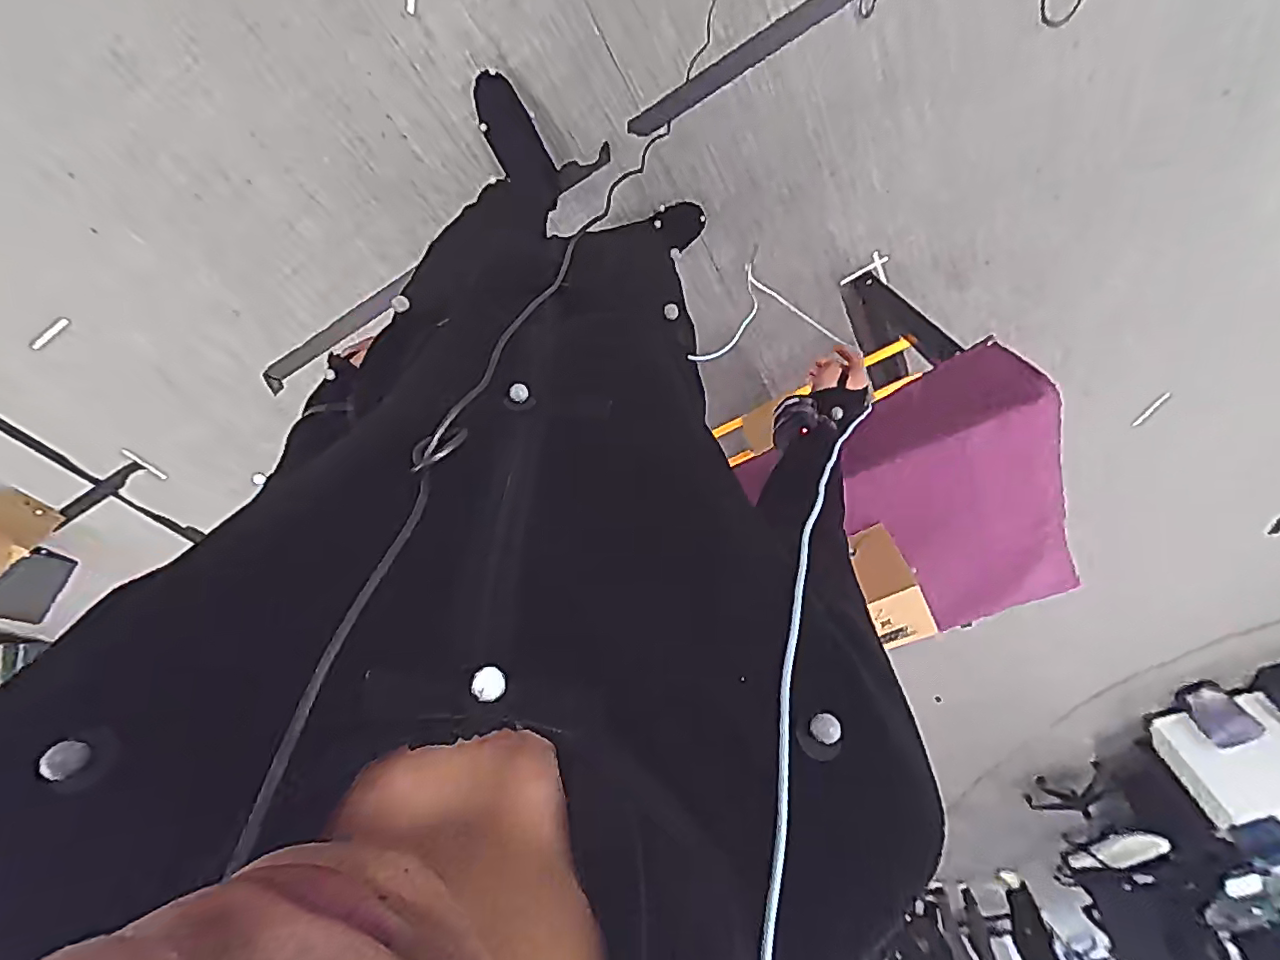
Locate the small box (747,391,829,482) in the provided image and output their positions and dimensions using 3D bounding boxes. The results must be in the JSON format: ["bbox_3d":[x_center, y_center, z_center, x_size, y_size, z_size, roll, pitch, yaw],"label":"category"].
[{"bbox_3d":[0.433,-0.130,1.609,0.179,0.176,0.168,-27,127,17],"label":"small box"}]
